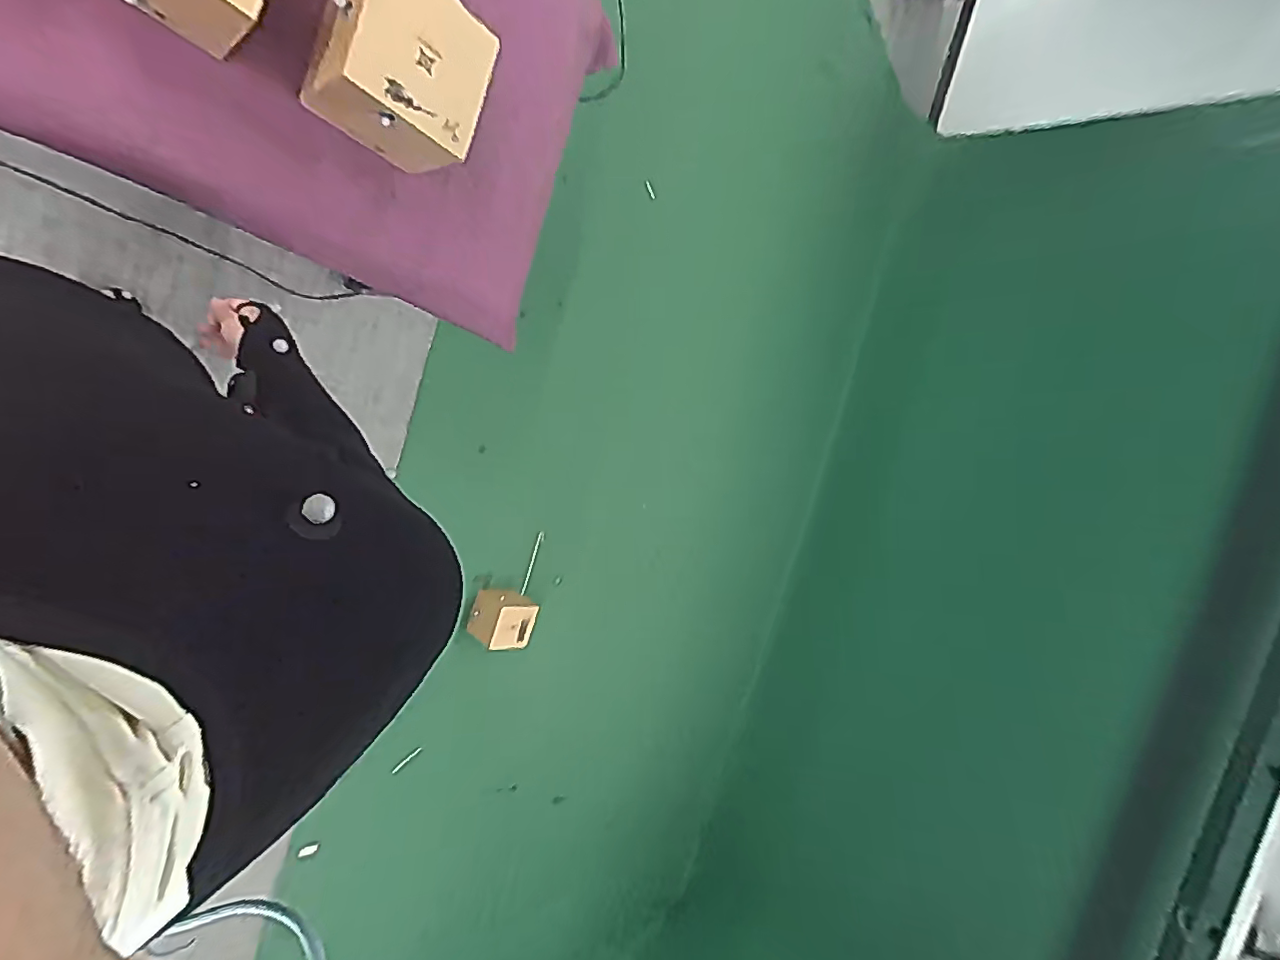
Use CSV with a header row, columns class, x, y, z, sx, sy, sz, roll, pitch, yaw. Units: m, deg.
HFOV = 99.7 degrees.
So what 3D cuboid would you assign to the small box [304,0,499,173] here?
class,x,y,z,sx,sy,sz,roll,pitch,yaw
small box,-0.327,-0.555,0.736,0.168,0.176,0.179,16,92,-49
